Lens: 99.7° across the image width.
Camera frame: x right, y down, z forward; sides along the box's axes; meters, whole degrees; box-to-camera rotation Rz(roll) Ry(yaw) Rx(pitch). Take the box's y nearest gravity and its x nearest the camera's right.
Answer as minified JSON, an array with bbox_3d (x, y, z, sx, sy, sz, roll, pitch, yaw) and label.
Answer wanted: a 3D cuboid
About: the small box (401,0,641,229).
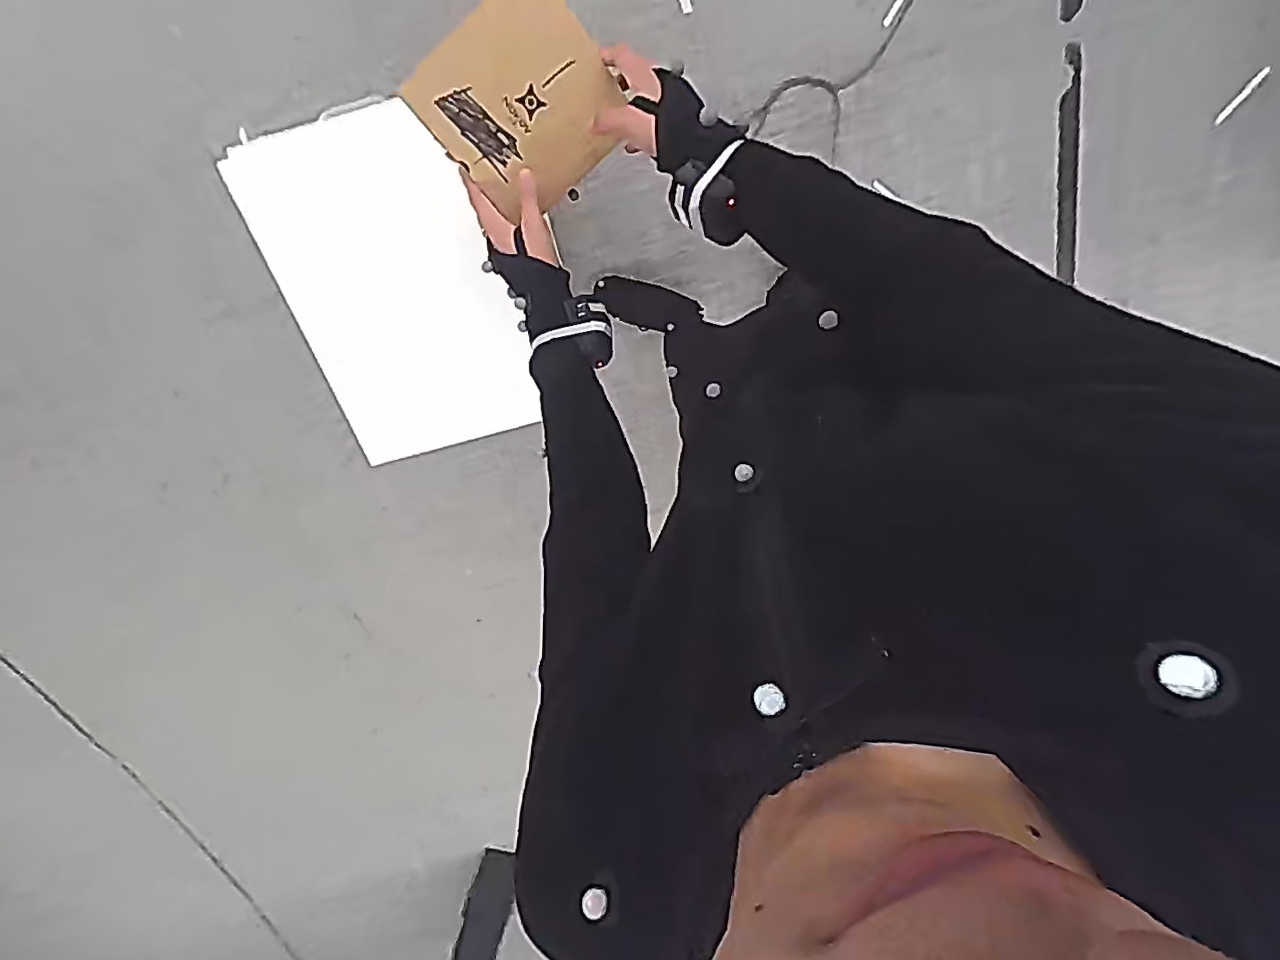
[{"bbox_3d":[-0.123,-0.409,0.597,0.179,0.176,0.168,-38,120,11],"label":"small box"}]
